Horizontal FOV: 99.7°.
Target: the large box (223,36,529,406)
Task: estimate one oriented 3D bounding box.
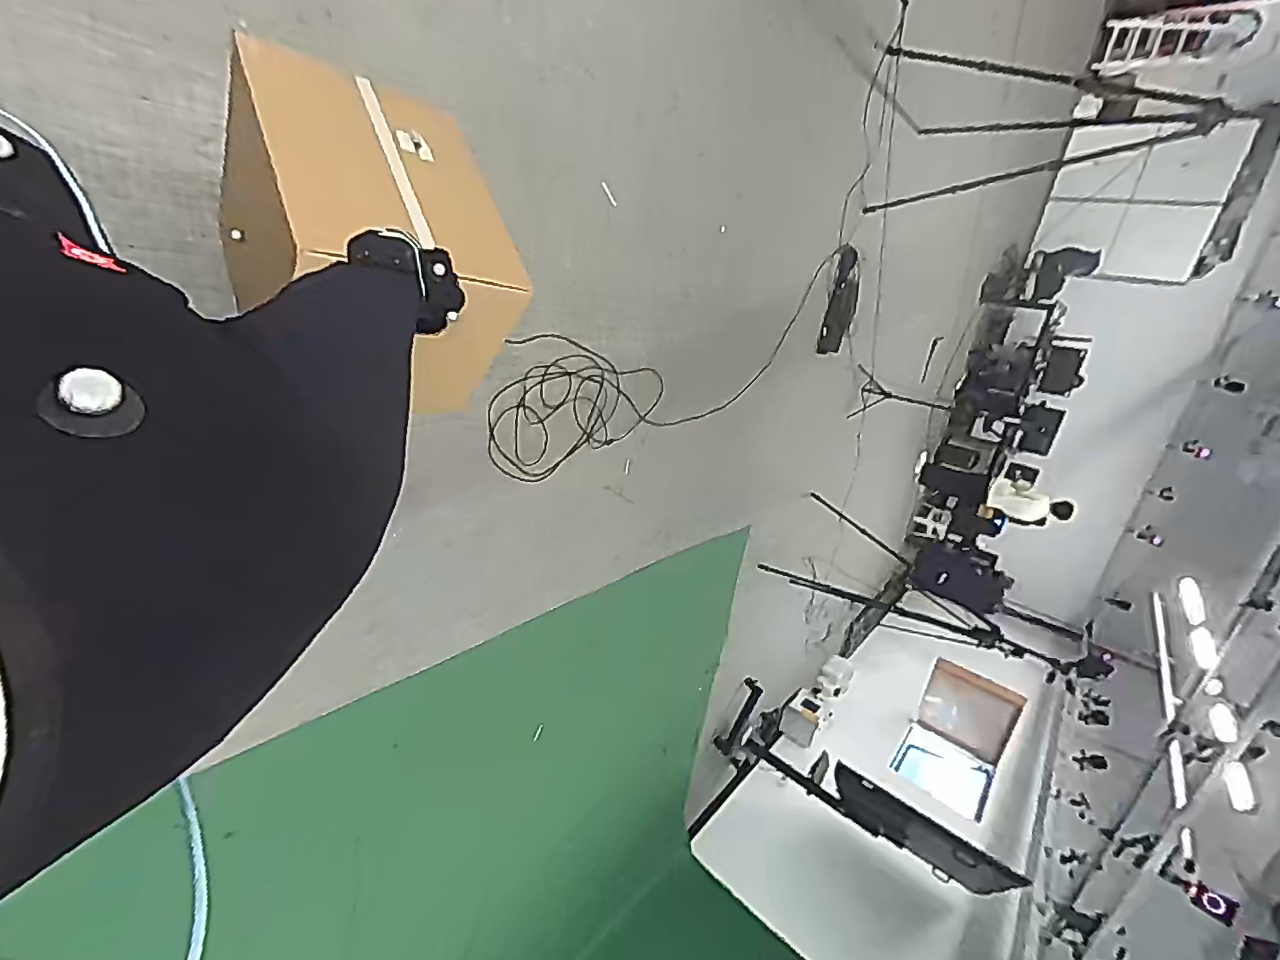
[{"bbox_3d":[-0.440,-0.369,0.871,0.320,0.408,0.320,-8,156,-45],"label":"large box"}]
